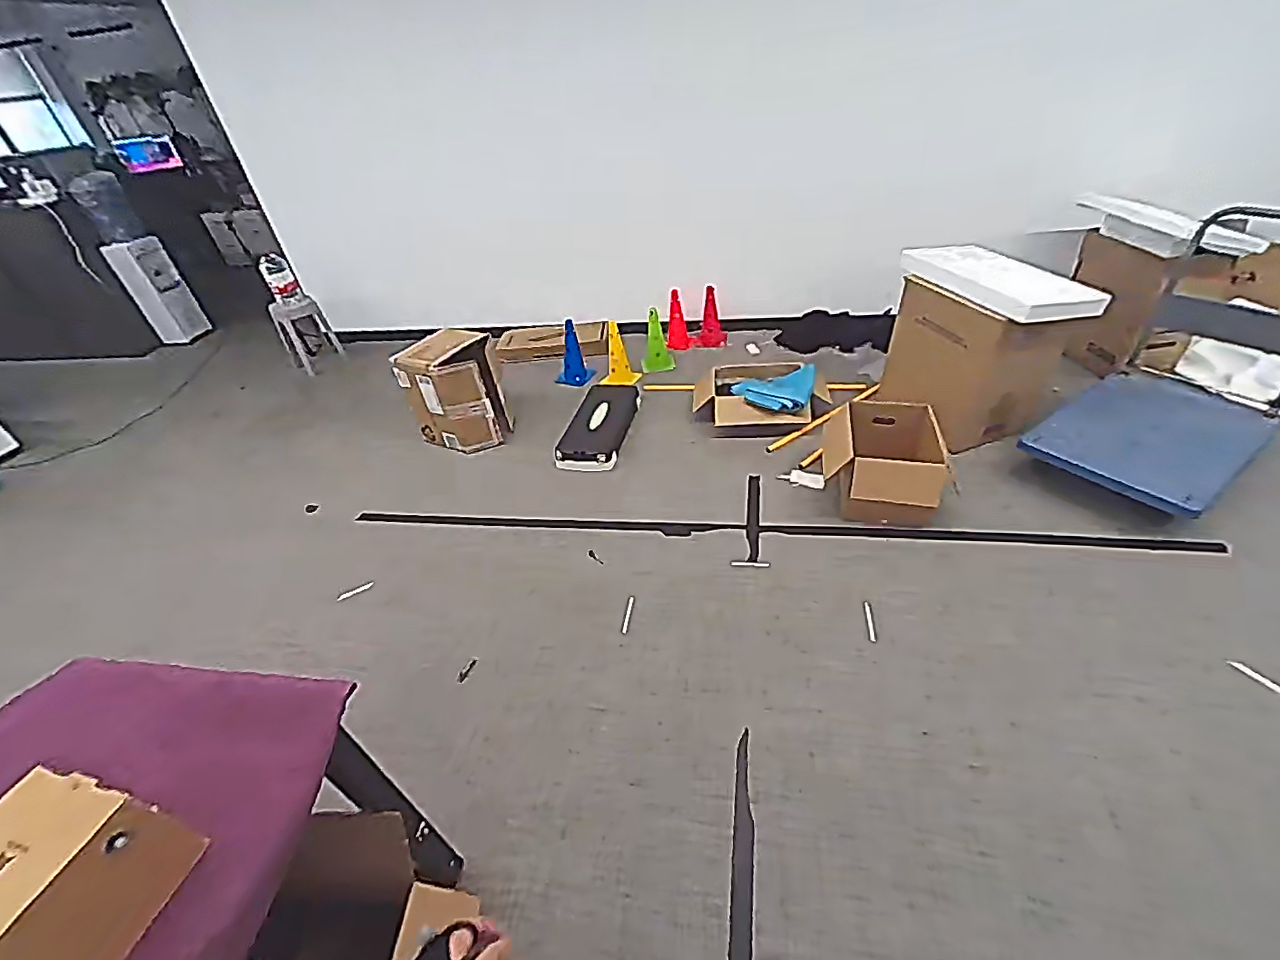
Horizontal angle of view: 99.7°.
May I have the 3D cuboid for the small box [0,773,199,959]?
[{"bbox_3d":[-0.698,0.490,0.645,0.168,0.176,0.179,4,39,15],"label":"small box"}]
